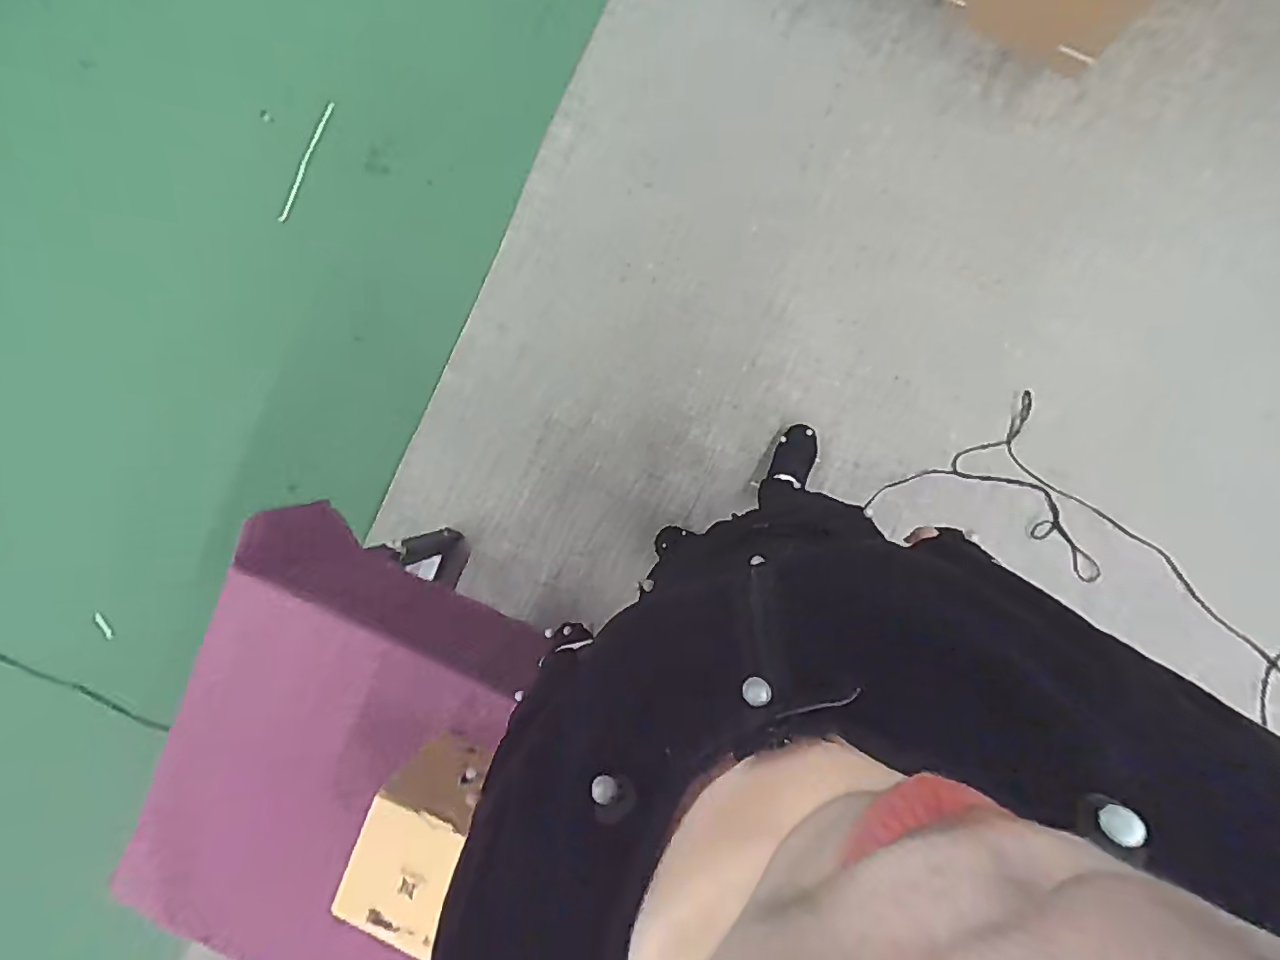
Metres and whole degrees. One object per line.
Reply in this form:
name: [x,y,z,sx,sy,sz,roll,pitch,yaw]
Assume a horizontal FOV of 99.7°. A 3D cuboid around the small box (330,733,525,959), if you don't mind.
small box: [-0.275,0.489,0.745,0.168,0.176,0.179,23,93,5]
